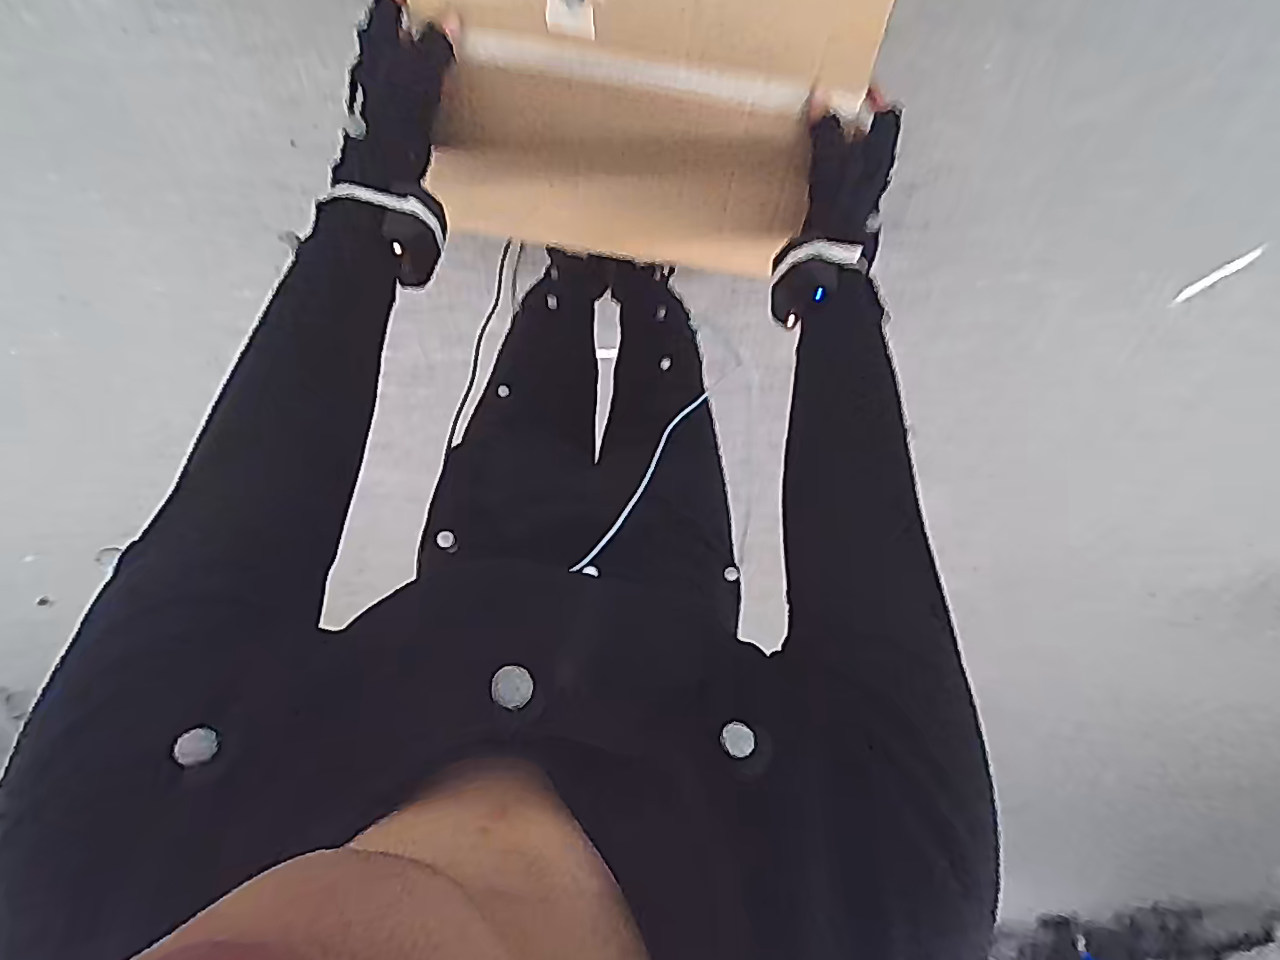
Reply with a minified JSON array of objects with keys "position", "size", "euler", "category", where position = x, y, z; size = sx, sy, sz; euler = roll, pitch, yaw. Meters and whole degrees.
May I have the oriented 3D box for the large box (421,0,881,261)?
[{"position":[0.010,-0.475,0.607],"size":[0.408,0.320,0.320],"euler":[9,127,-3],"category":"large box"}]
